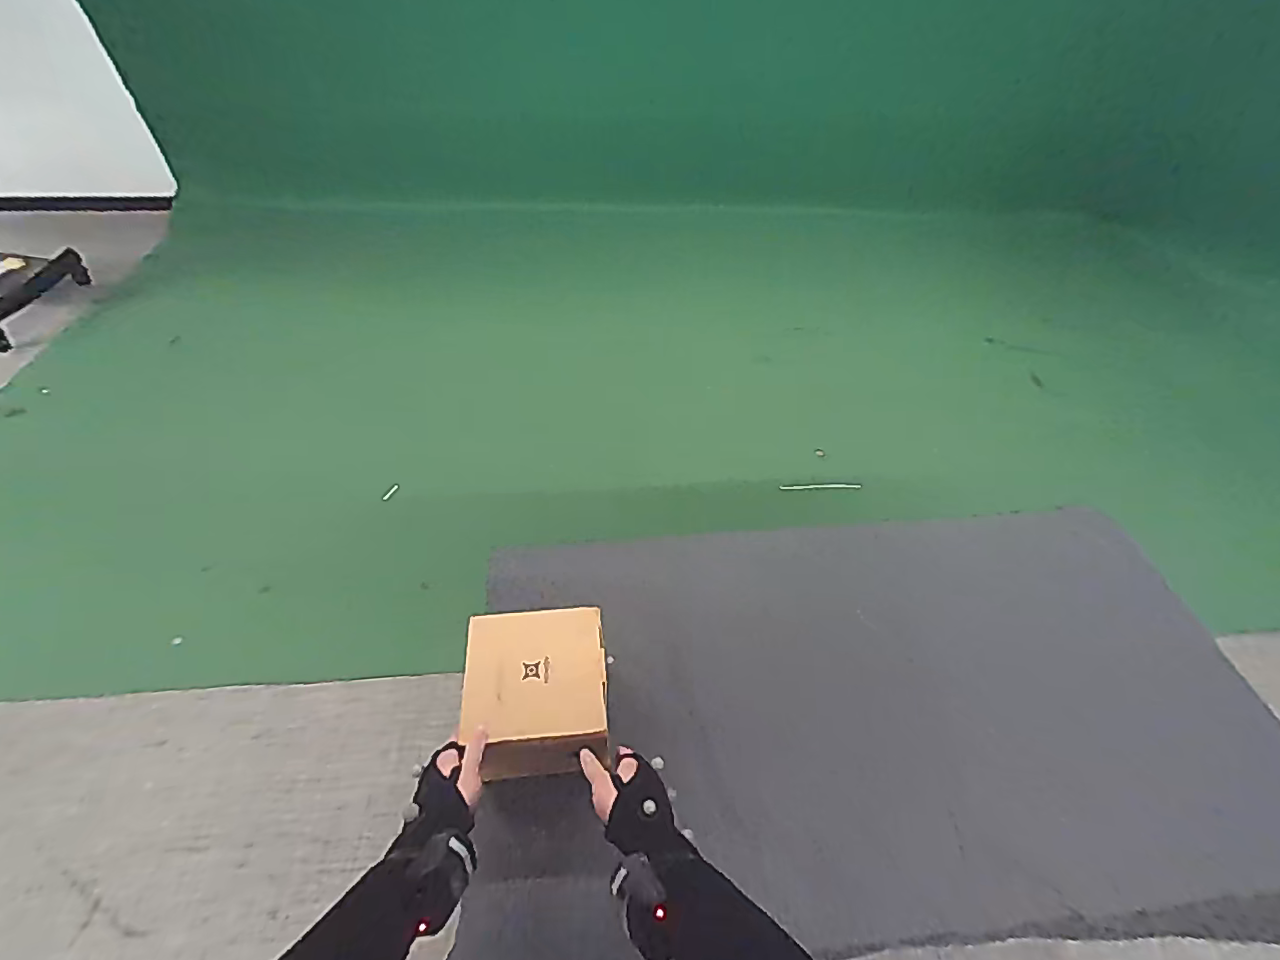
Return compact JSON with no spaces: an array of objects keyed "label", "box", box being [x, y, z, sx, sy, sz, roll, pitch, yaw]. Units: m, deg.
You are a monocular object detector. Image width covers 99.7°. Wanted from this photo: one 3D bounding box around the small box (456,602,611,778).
[{"label":"small box","box":[-0.133,0.283,0.726,0.179,0.176,0.168,-4,48,-6]}]
